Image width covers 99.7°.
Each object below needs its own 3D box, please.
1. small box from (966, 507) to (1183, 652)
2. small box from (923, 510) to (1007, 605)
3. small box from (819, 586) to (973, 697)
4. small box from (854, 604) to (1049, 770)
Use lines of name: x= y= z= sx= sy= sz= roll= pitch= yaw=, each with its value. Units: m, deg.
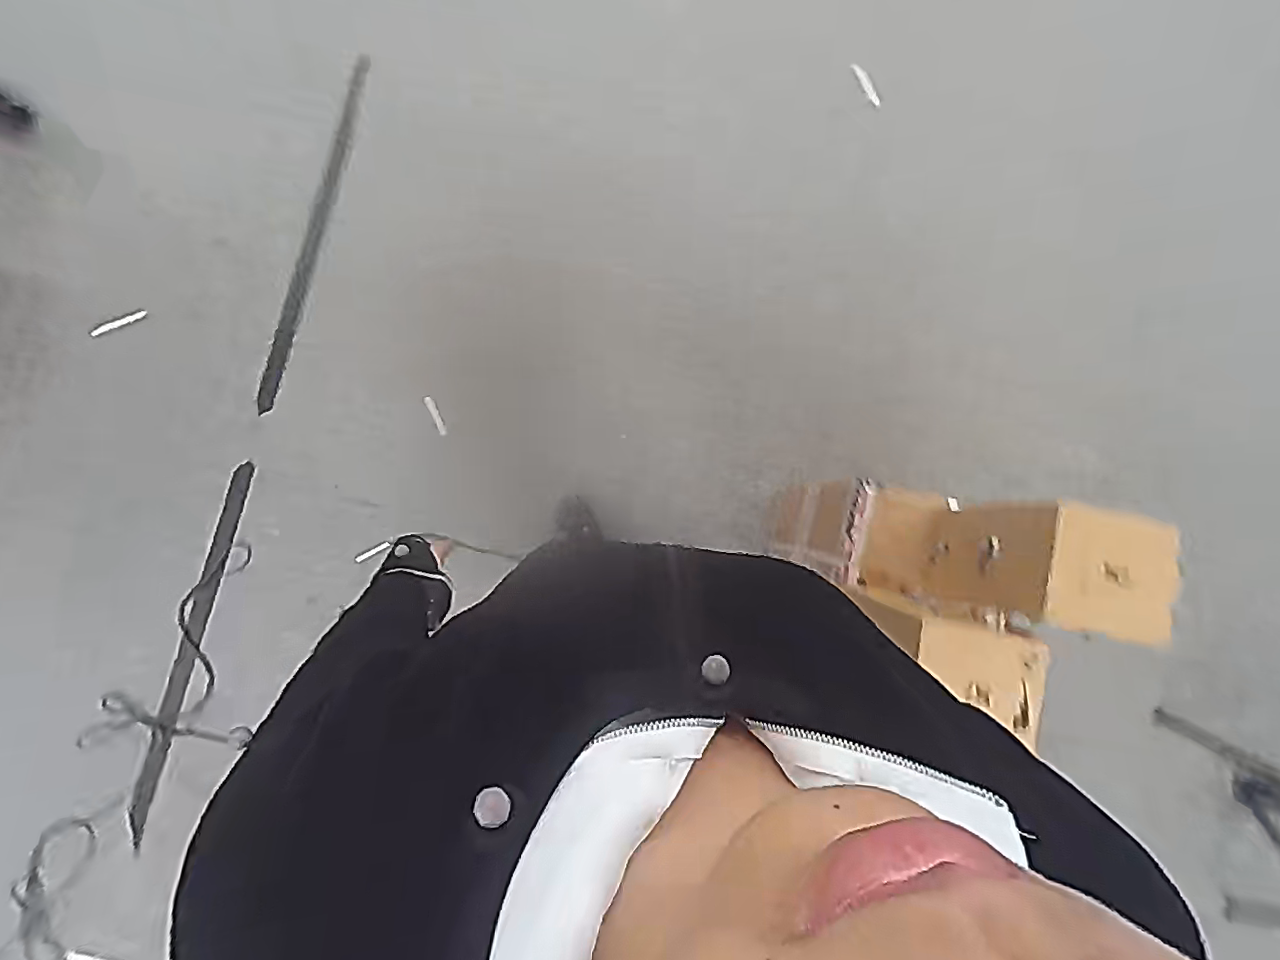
small box: x=0.632 y=0.139 z=0.805 sx=0.179 sy=0.176 sz=0.168 roll=13 pitch=84 yaw=0
small box: x=0.649 y=0.152 z=0.968 sx=0.179 sy=0.176 sz=0.168 roll=13 pitch=85 yaw=0
small box: x=0.440 y=0.290 z=0.952 sx=0.179 sy=0.176 sz=0.168 roll=12 pitch=86 yaw=0
small box: x=0.437 y=0.286 z=0.788 sx=0.179 sy=0.176 sz=0.168 roll=13 pitch=86 yaw=0
